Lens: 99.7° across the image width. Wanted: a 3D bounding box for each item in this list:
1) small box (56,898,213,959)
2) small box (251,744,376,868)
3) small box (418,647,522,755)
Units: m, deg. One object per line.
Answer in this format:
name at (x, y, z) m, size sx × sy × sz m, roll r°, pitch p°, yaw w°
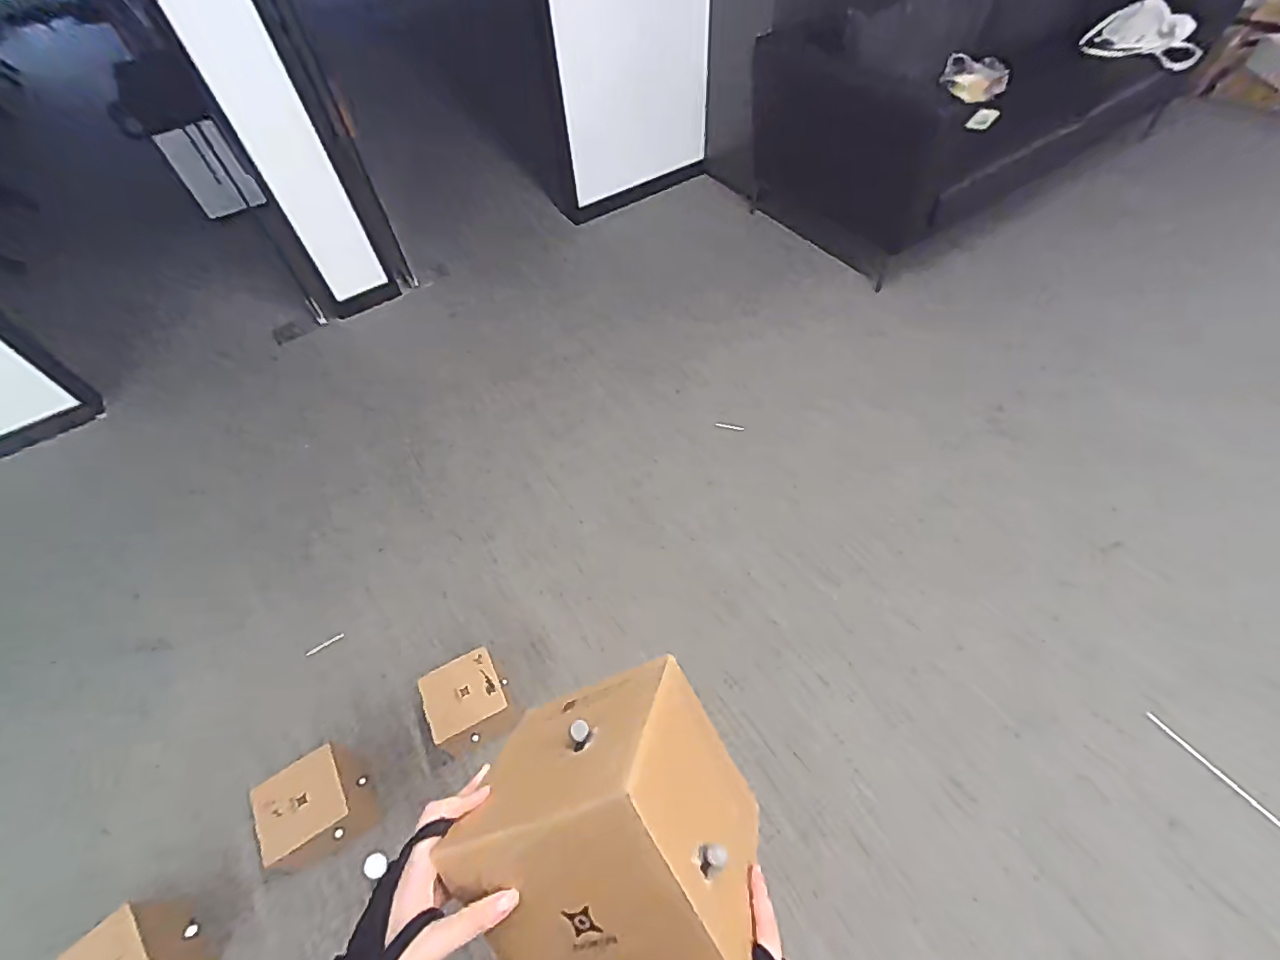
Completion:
small box at (-0.999, 0.964, 1.055) m, size 0.168 × 0.176 × 0.179 m, roll 37°, pitch 63°, yaw 26°
small box at (-0.718, 0.728, 1.209) m, size 0.179 × 0.176 × 0.168 m, roll -29°, pitch 57°, yaw -17°
small box at (-0.412, 0.545, 1.324) m, size 0.179 × 0.176 × 0.168 m, roll -25°, pitch 57°, yaw -13°
